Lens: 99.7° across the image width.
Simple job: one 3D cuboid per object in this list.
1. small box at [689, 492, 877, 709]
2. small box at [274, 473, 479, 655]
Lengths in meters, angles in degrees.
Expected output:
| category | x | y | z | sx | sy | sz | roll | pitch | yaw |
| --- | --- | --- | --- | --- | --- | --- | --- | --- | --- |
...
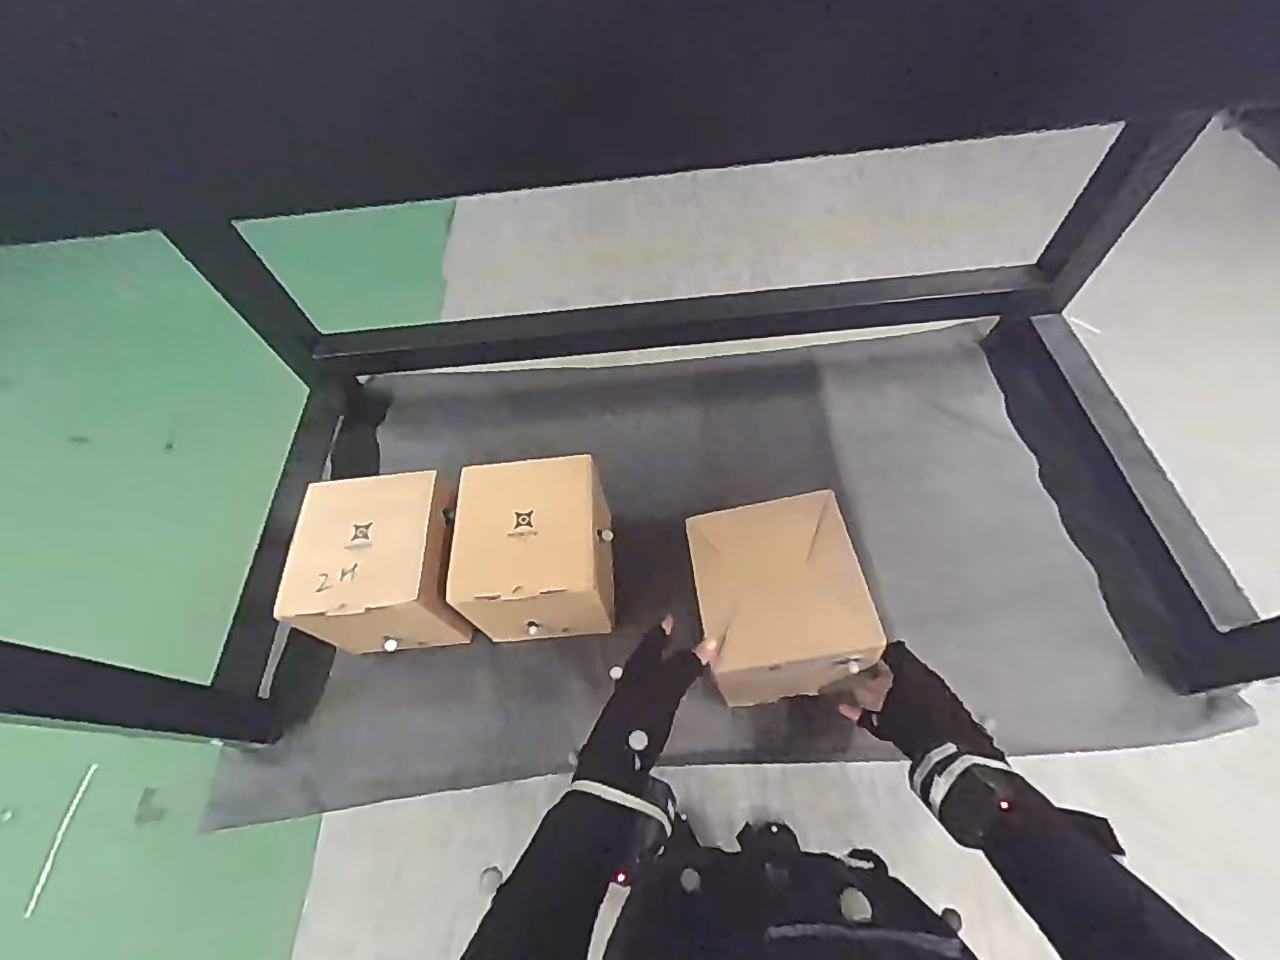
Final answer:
| category | x | y | z | sx | sy | sz | roll | pitch | yaw |
| --- | --- | --- | --- | --- | --- | --- | --- | --- | --- |
| small box | 0.156 | 0.141 | 0.615 | 0.168 | 0.176 | 0.179 | -12 | 55 | 7 |
| small box | -0.319 | 0.114 | 0.701 | 0.168 | 0.176 | 0.179 | -6 | 58 | 3 |
